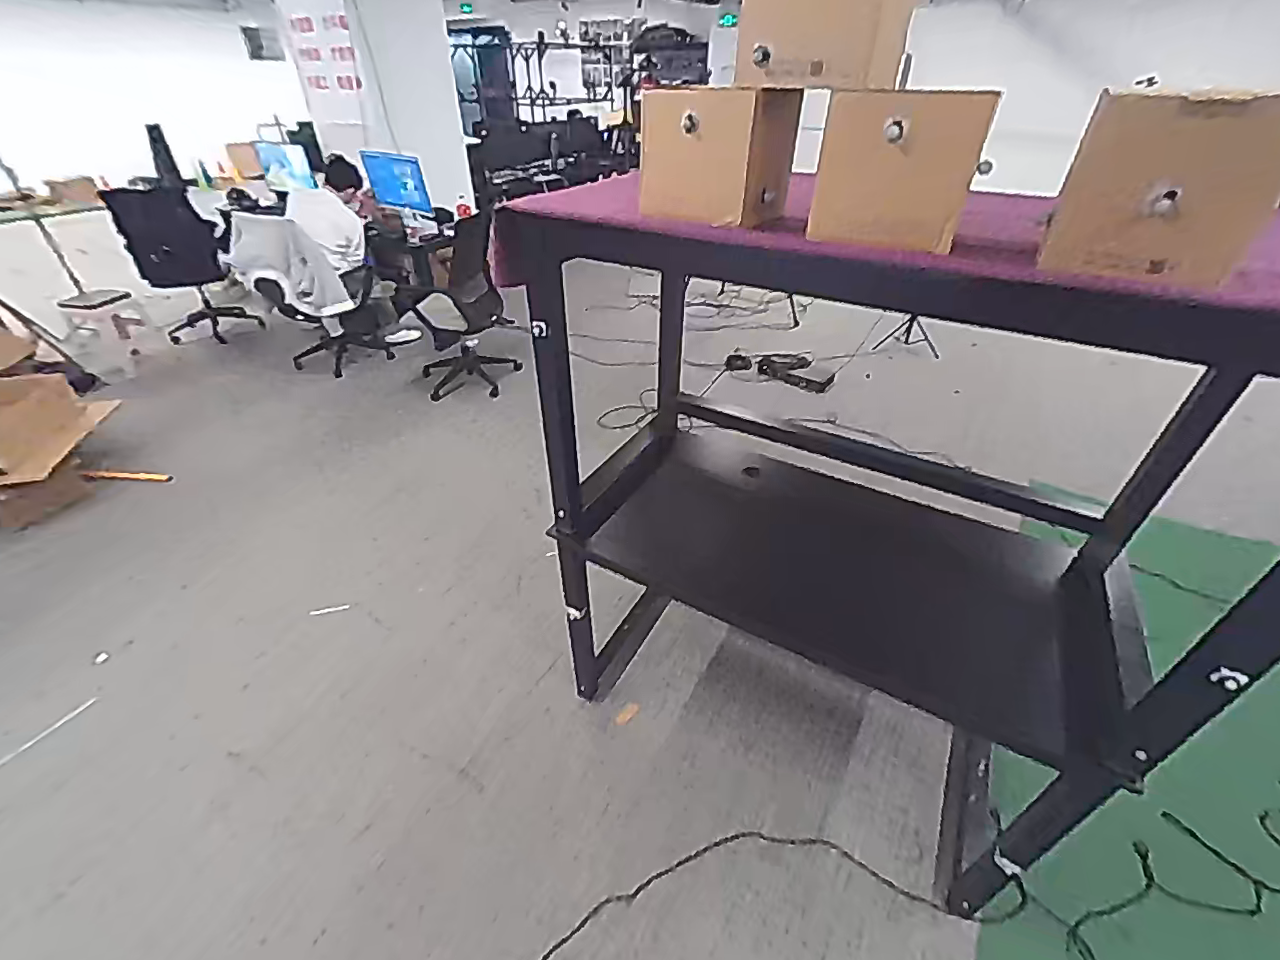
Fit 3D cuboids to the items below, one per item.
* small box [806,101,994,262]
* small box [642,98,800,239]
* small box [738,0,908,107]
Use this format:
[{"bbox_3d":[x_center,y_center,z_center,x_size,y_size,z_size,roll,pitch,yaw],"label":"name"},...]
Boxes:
[{"bbox_3d":[0.337,-0.395,0.714,0.179,0.176,0.168,17,39,24],"label":"small box"},{"bbox_3d":[0.116,-0.473,0.820,0.179,0.176,0.168,23,41,27],"label":"small box"},{"bbox_3d":[0.233,-0.575,0.682,0.168,0.176,0.179,20,39,25],"label":"small box"}]
